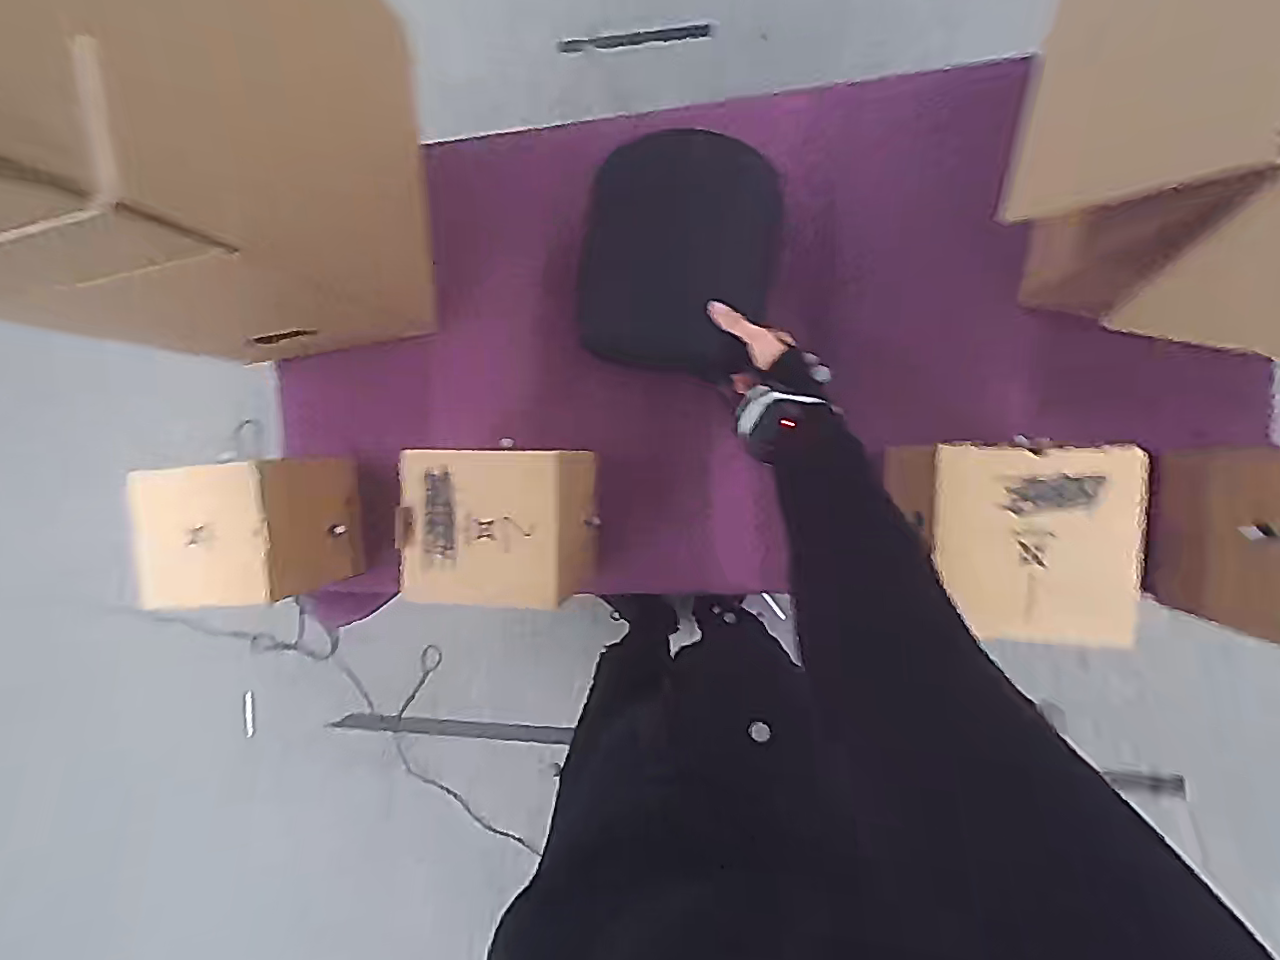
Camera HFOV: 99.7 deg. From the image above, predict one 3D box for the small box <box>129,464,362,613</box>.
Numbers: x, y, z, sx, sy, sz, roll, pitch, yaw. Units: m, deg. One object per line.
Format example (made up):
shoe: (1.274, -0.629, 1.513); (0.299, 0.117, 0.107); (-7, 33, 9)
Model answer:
small box: (-0.498, 0.069, 0.702); (0.179, 0.176, 0.168); (-5, 91, 9)

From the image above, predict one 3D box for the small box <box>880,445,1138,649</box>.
small box: (0.355, 0.055, 0.555); (0.168, 0.176, 0.179); (1, 93, 10)

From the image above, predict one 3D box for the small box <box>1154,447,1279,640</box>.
small box: (0.635, 0.058, 0.504); (0.168, 0.176, 0.179); (2, 92, 10)
